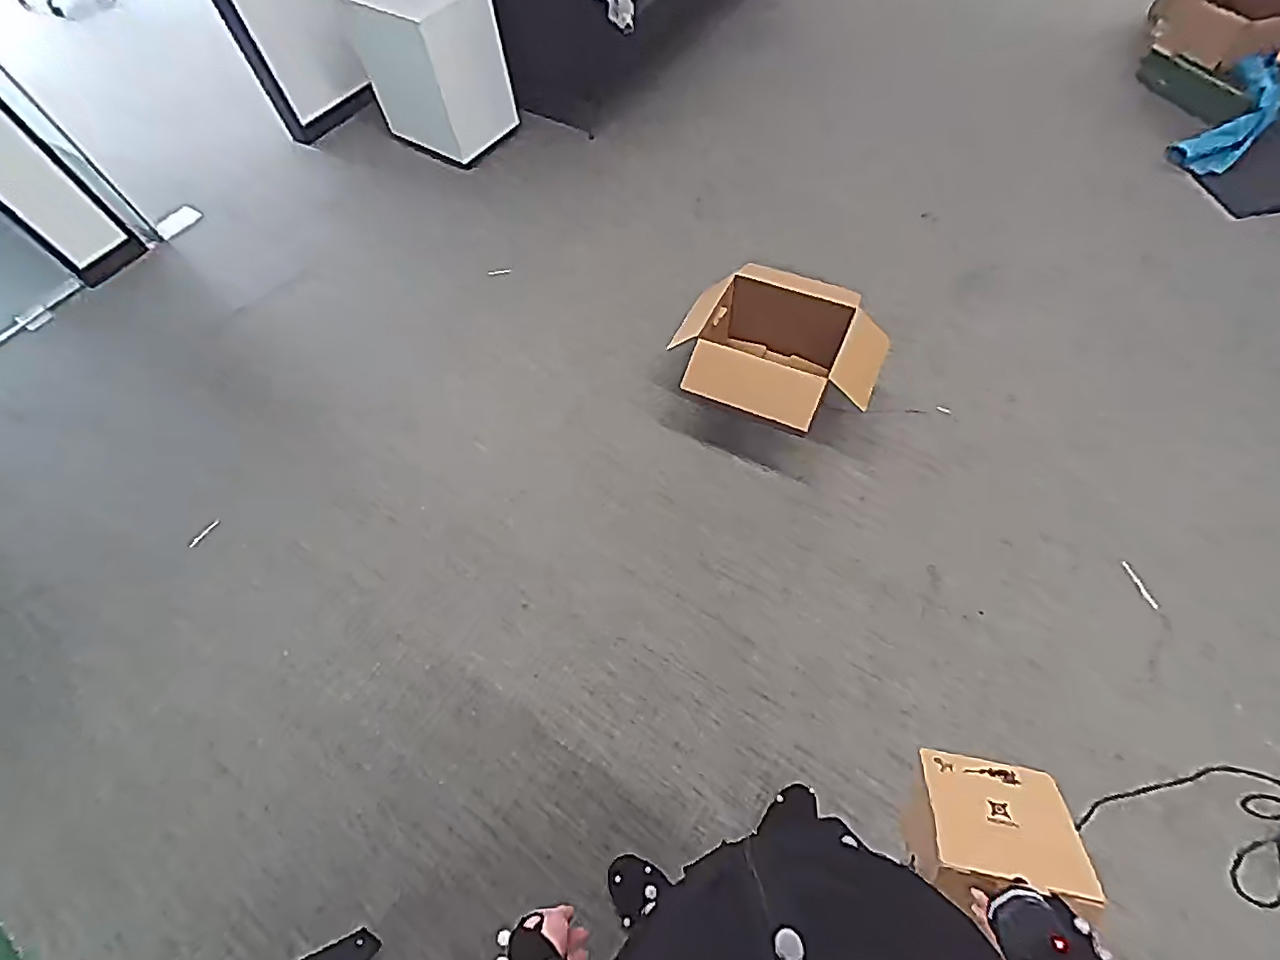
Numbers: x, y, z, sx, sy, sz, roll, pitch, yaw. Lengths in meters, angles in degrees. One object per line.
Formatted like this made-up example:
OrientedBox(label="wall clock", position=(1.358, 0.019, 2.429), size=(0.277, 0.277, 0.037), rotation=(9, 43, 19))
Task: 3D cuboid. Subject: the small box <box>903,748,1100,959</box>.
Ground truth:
OrientedBox(label="small box", position=(0.451, 0.498, 0.708), size=(0.168, 0.176, 0.179), rotation=(6, 22, 18))
